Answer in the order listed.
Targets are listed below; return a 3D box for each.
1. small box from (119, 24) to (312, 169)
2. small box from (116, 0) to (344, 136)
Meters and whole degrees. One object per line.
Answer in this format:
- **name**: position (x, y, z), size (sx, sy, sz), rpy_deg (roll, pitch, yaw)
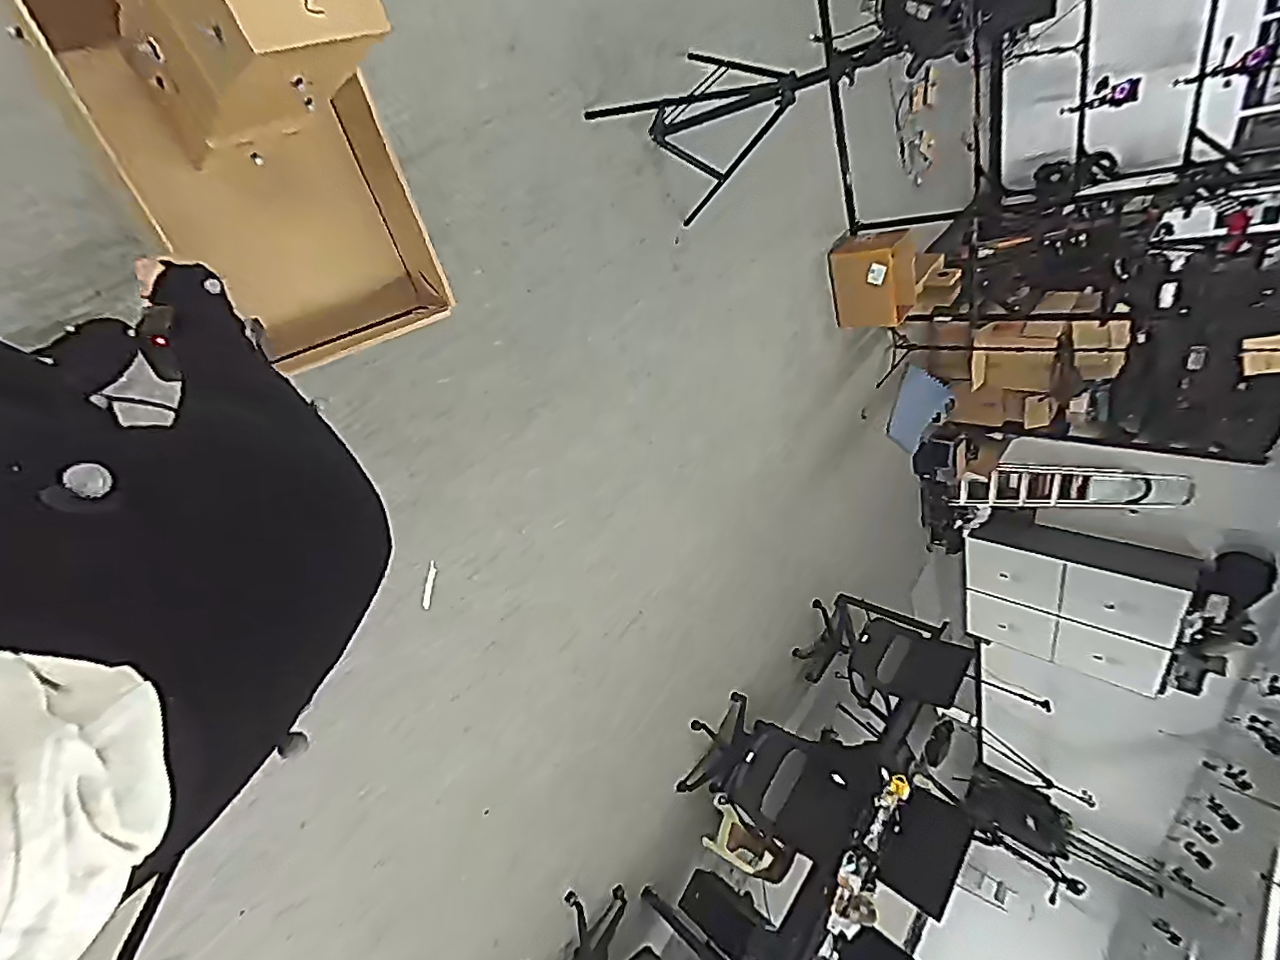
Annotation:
- **small box**: position (-0.661, -0.615, 0.843), size (0.168, 0.176, 0.179), rpy_deg (-40, 127, -31)
- **small box**: position (-0.549, -0.593, 0.726), size (0.179, 0.176, 0.168), rpy_deg (-42, 127, -30)
